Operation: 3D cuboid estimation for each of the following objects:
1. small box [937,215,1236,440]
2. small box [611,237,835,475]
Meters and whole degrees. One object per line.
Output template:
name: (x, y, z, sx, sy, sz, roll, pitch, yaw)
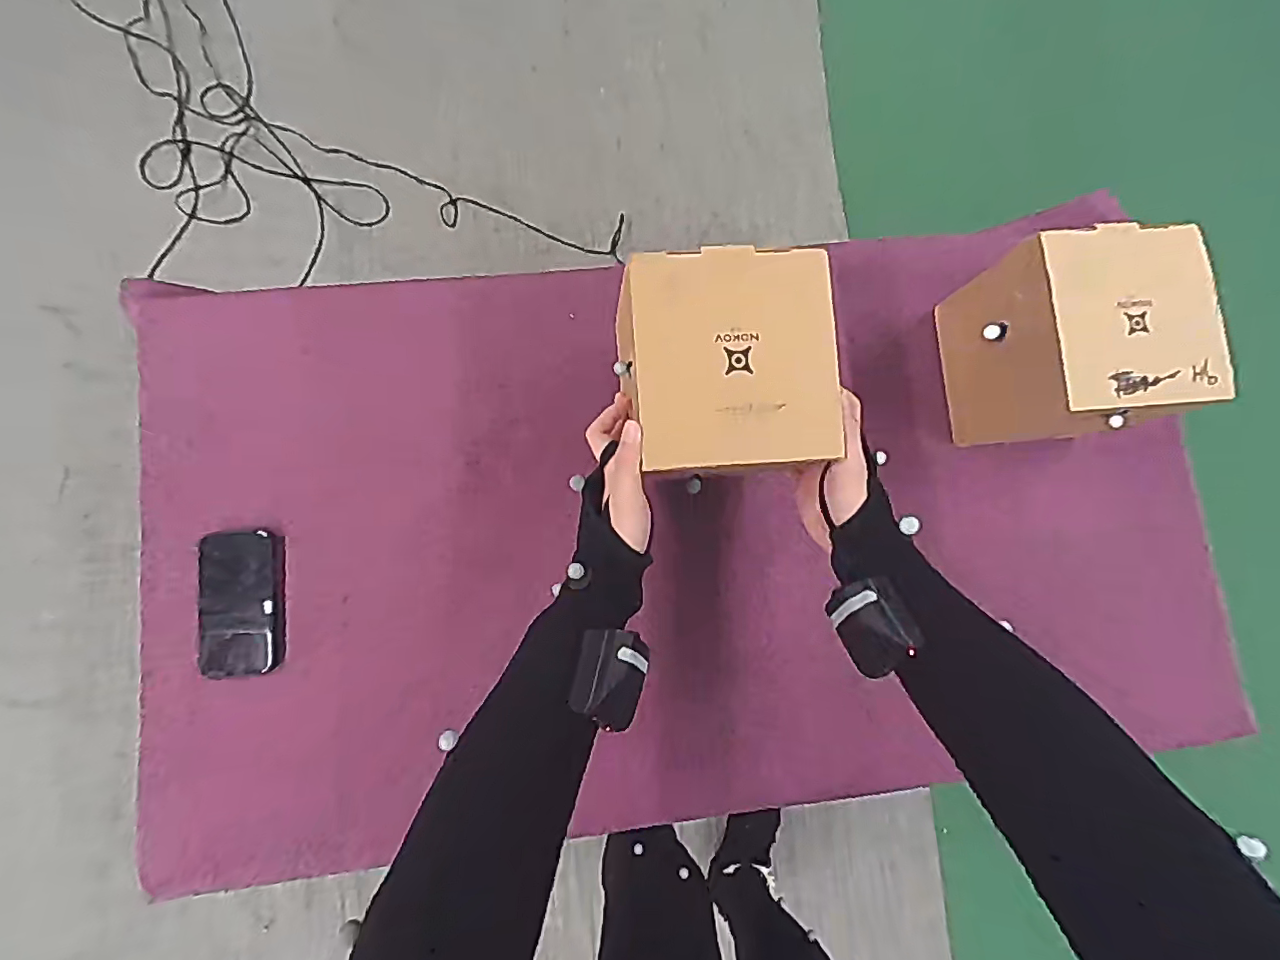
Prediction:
small box: (0.445, -0.149, 0.572, 0.168, 0.176, 0.179, -4, 83, -3)
small box: (0.061, -0.101, 0.504, 0.168, 0.176, 0.179, -4, 87, -5)
